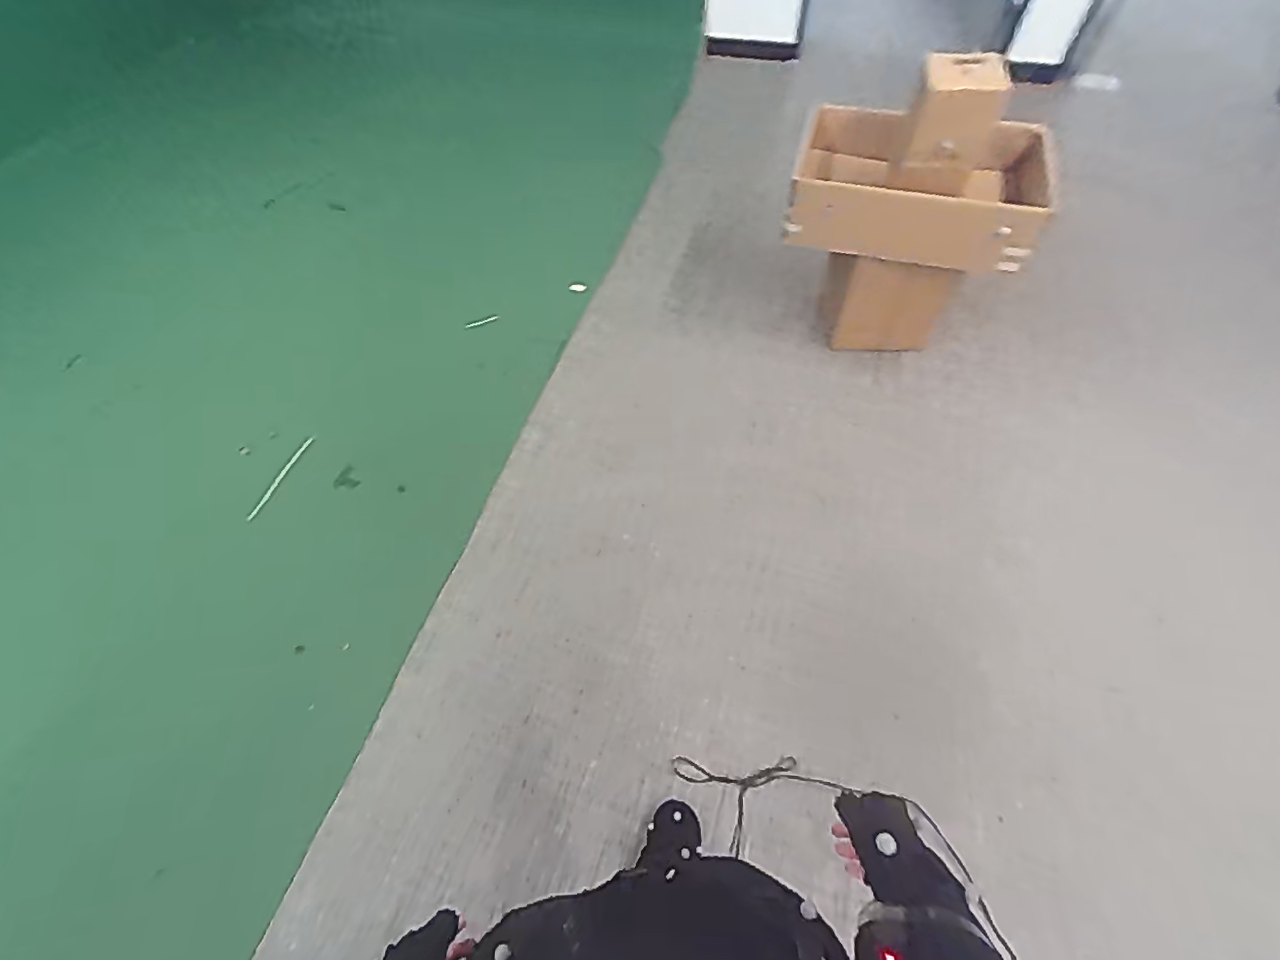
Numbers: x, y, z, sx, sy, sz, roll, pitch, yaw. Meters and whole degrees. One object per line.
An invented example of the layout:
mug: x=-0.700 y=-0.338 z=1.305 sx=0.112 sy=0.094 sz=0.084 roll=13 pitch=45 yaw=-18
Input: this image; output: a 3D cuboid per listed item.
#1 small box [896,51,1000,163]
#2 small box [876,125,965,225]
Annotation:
small box: x=0.734 y=-0.903 z=1.310 sx=0.168 sy=0.176 sz=0.179 roll=7 pitch=61 yaw=10
small box: x=0.743 y=-0.818 z=1.451 sx=0.168 sy=0.176 sz=0.179 roll=7 pitch=61 yaw=9
